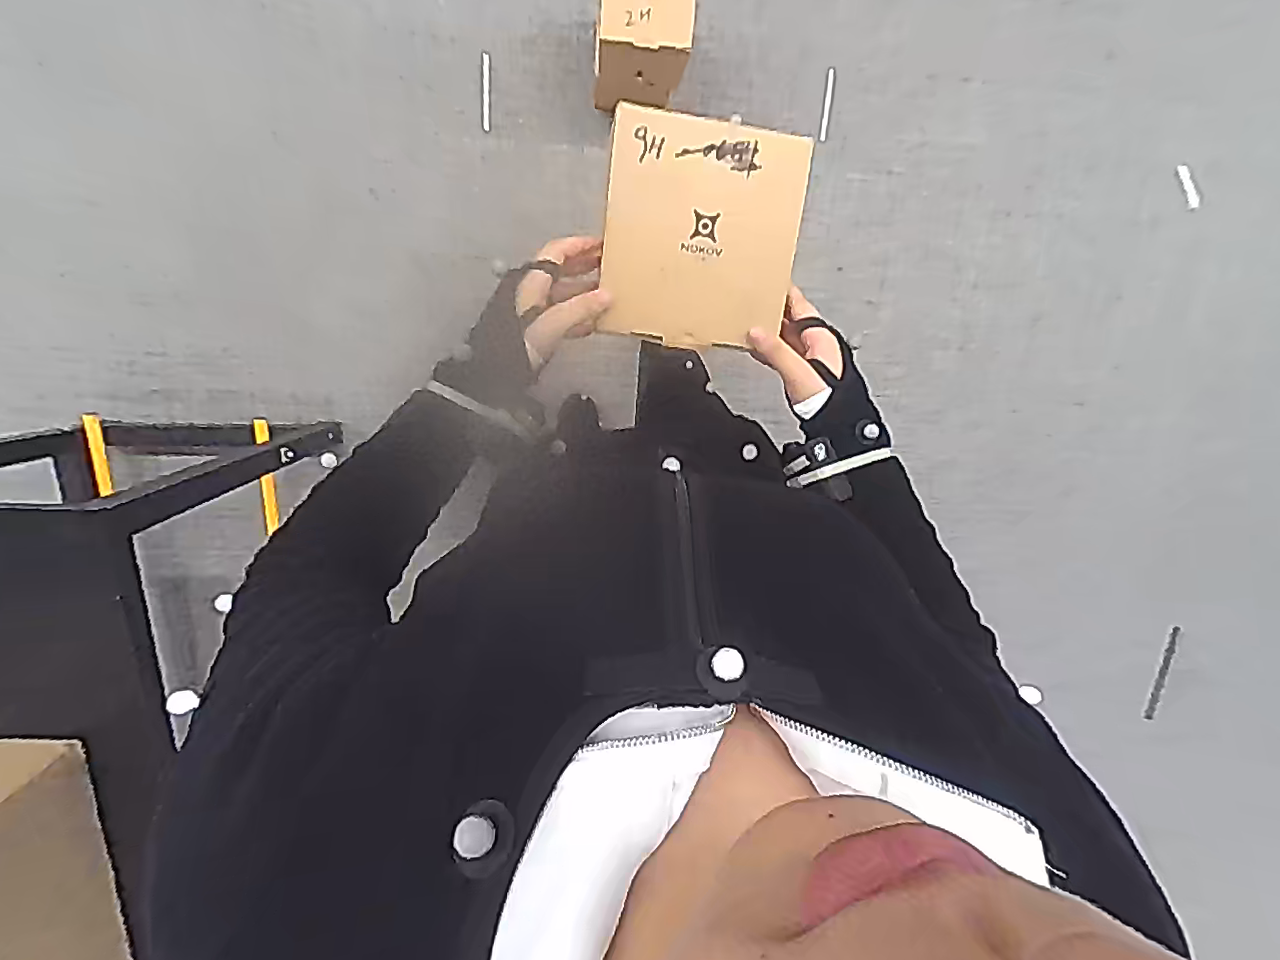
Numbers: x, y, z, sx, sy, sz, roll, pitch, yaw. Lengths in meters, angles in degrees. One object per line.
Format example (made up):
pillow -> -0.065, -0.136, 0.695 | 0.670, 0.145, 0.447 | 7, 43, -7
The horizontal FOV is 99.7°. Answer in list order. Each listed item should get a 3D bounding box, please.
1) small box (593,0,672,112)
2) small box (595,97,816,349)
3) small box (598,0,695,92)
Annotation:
small box -> -0.014, -0.916, 1.160 | 0.168, 0.176, 0.179 | 2, 106, -5
small box -> 0.046, -0.231, 0.529 | 0.168, 0.176, 0.179 | 5, 106, -8
small box -> 0.008, -0.864, 1.004 | 0.168, 0.176, 0.179 | 3, 105, -5
